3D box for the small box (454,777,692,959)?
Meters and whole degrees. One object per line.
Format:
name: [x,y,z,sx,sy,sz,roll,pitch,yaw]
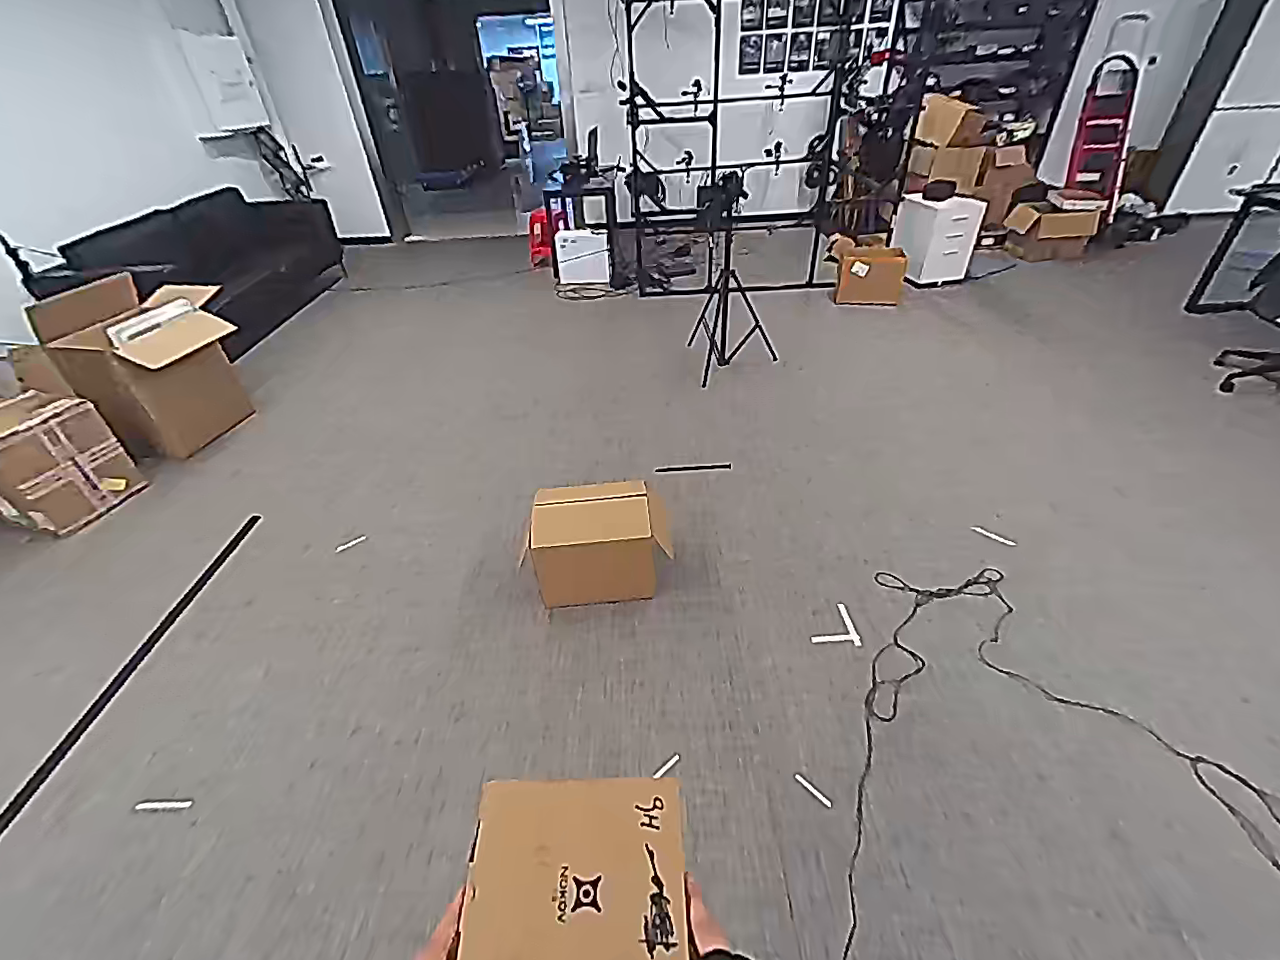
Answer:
small box: [-0.050,0.379,0.476,0.179,0.176,0.168,0,44,-2]
